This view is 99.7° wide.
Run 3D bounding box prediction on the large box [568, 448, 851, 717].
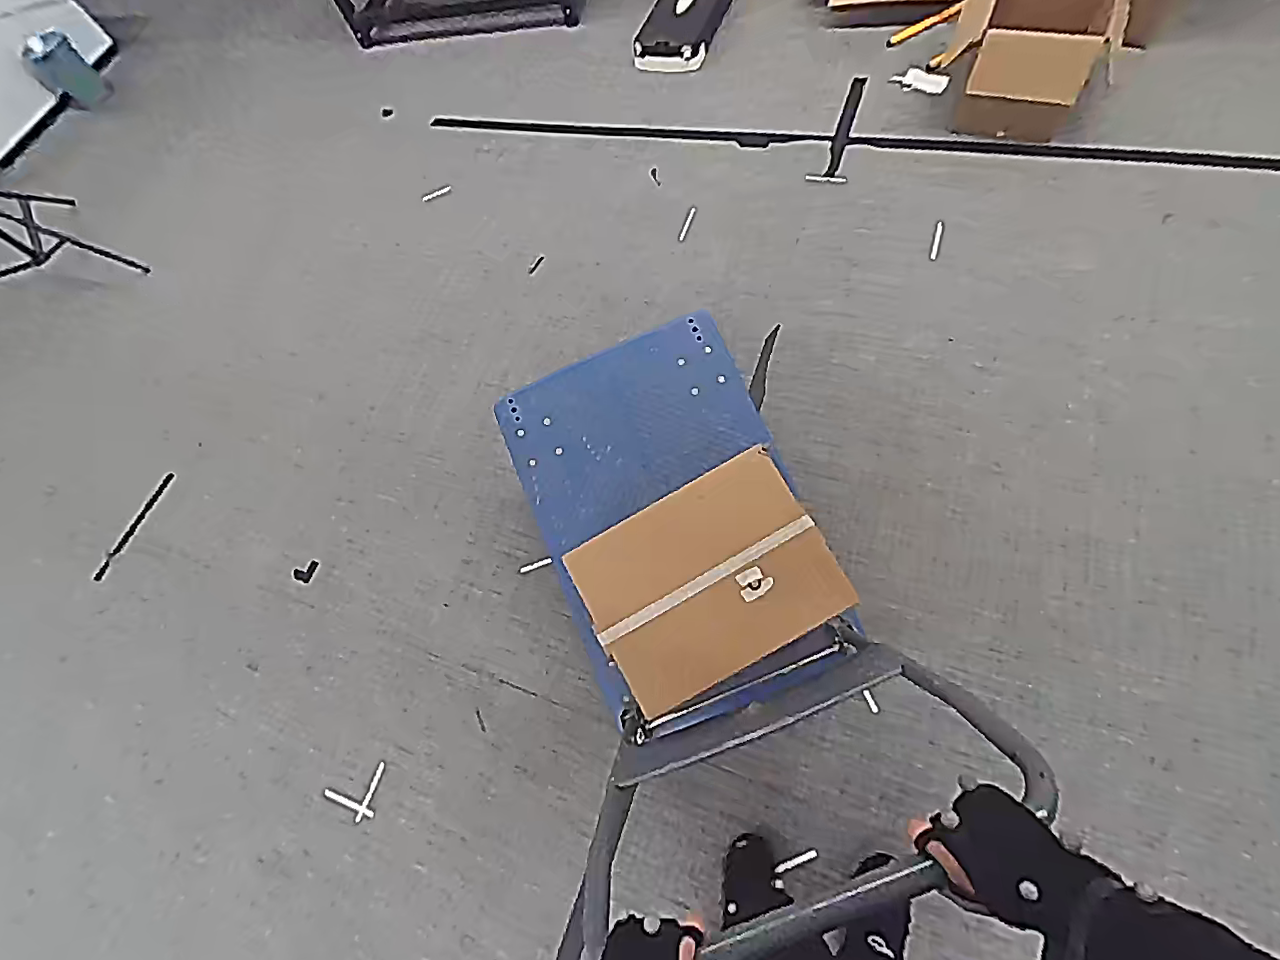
[{"bbox_3d":[0.126,0.196,1.079,0.408,0.320,0.320,-31,80,-1],"label":"large box"}]
